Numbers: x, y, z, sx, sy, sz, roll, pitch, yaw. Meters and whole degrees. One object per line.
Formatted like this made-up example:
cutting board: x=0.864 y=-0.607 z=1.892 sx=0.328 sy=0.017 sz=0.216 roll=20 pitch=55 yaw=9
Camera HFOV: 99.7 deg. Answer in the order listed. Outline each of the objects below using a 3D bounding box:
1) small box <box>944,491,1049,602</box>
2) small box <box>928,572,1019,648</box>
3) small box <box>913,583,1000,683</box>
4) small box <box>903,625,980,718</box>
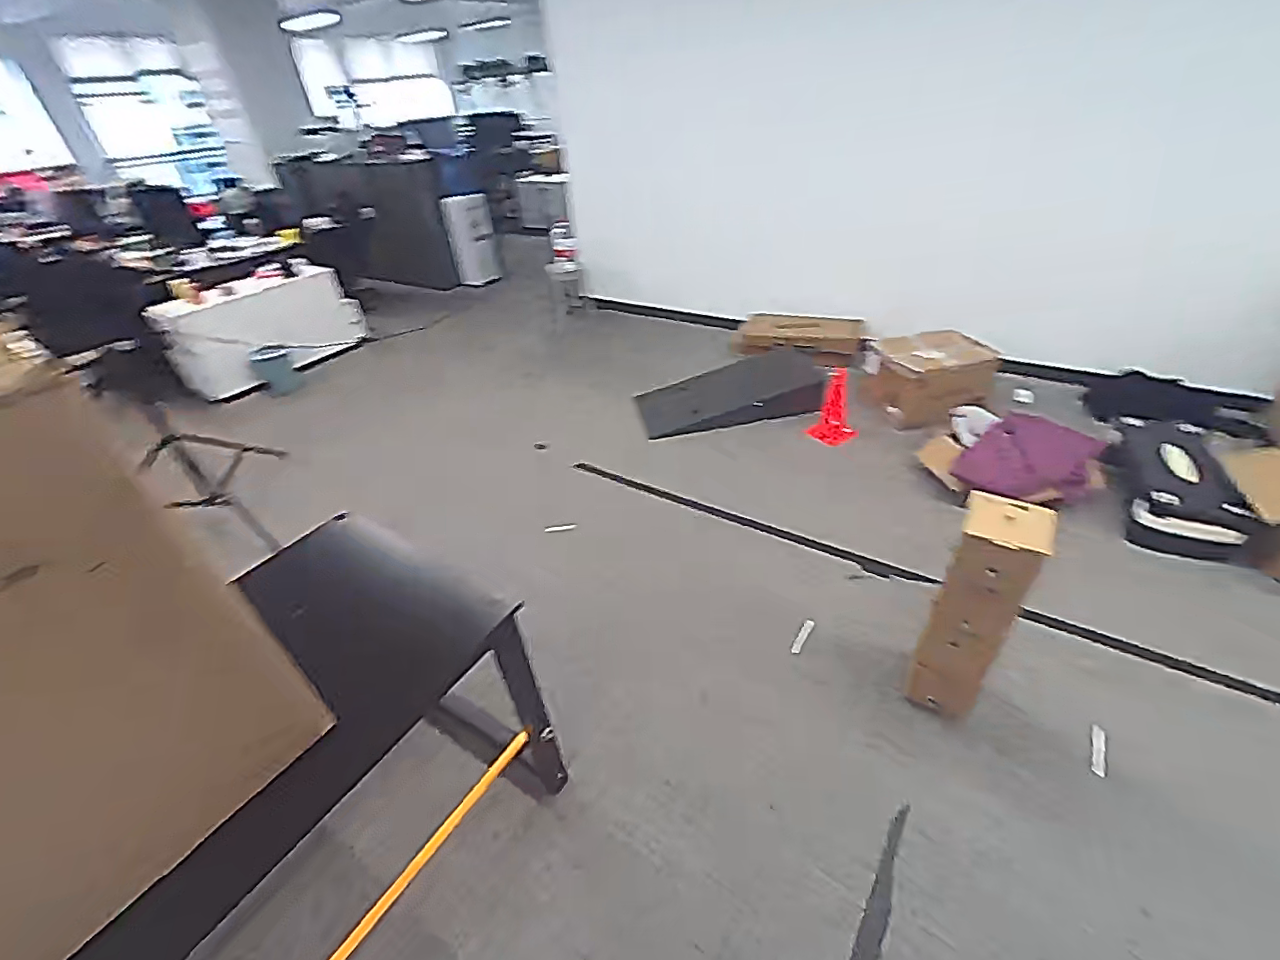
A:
small box: x=0.844 y=0.158 z=1.288 sx=0.168 sy=0.176 sz=0.179 roll=18 pitch=43 yaw=29
small box: x=0.861 y=0.289 z=1.385 sx=0.168 sy=0.176 sz=0.179 roll=20 pitch=44 yaw=31
small box: x=0.869 y=0.421 z=1.483 sx=0.179 sy=0.176 sz=0.168 roll=18 pitch=43 yaw=28
small box: x=0.882 y=0.553 z=1.580 sx=0.168 sy=0.176 sz=0.179 roll=14 pitch=42 yaw=25
